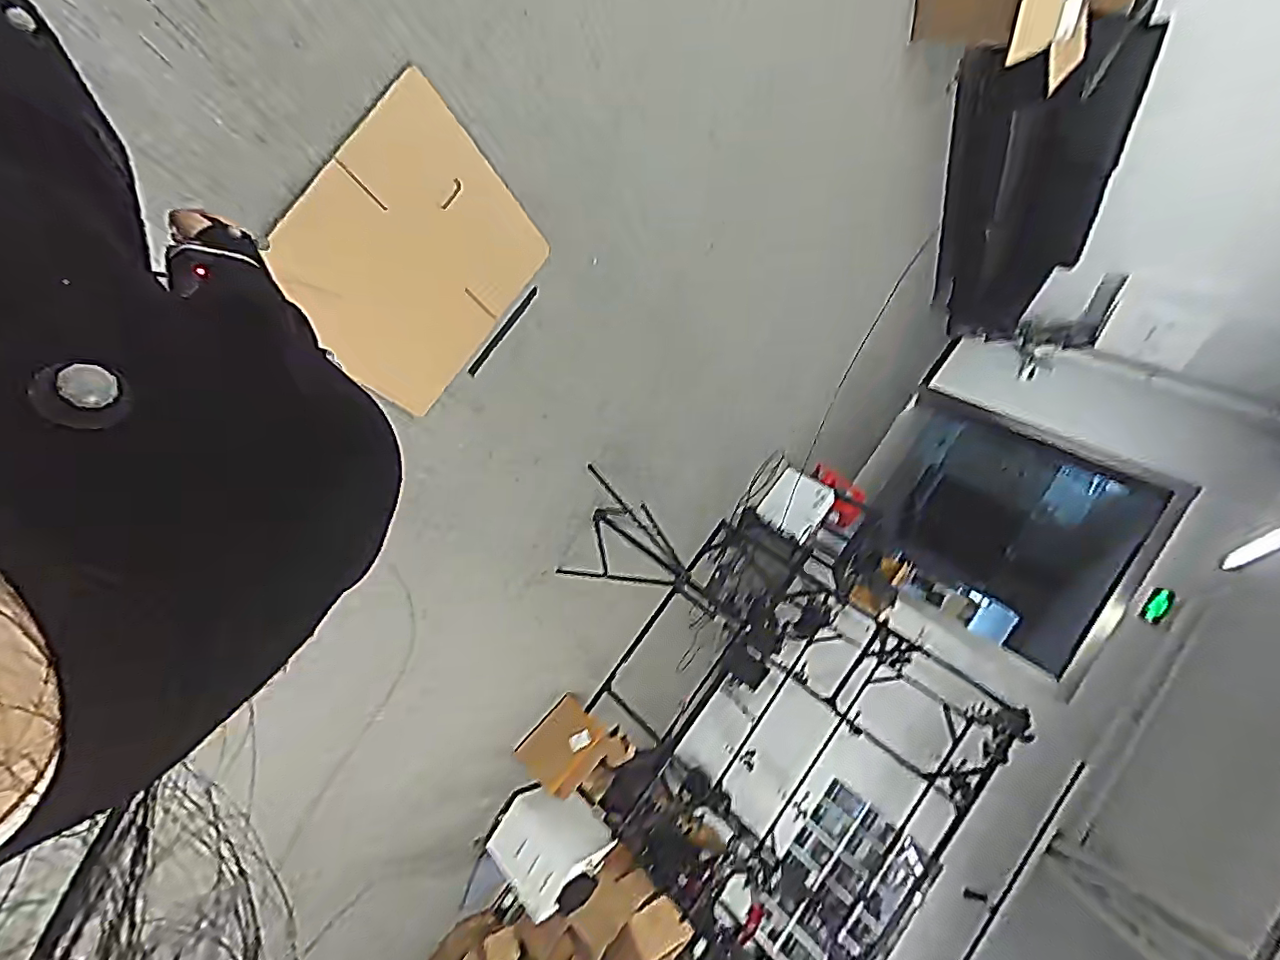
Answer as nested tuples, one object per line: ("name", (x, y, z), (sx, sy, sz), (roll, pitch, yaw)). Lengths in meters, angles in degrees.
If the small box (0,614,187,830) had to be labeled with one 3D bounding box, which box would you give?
("small box", (-0.748, 0.305, 0.726), (0.168, 0.176, 0.179), (-18, 132, -44))
